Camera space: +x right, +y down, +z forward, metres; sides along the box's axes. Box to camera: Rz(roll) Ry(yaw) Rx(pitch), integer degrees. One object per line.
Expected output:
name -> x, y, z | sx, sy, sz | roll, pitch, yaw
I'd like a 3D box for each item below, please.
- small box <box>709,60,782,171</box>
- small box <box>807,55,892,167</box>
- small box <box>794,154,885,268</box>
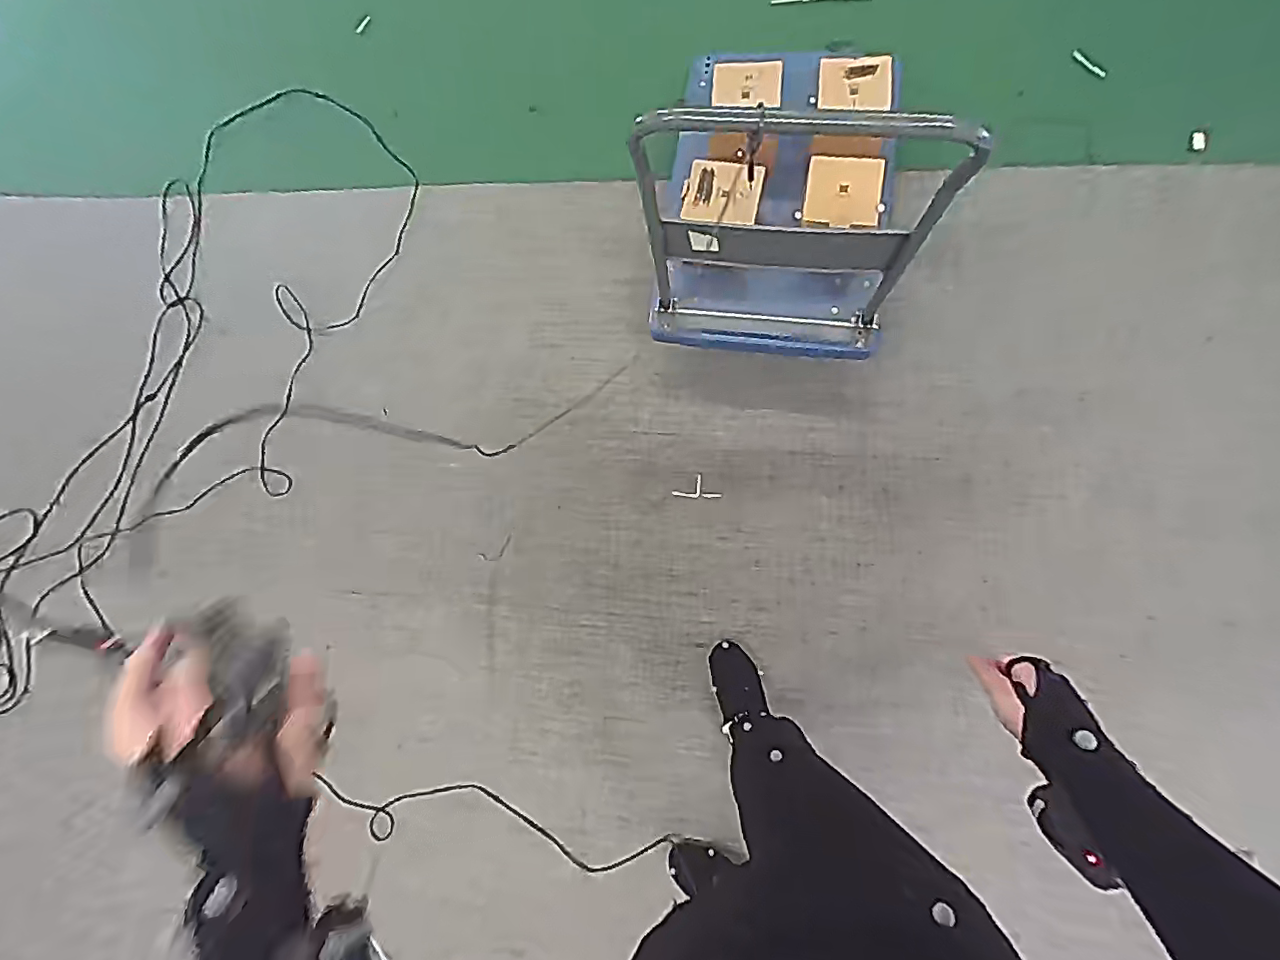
small box -> 0.268, -0.924, 1.386 | 0.168, 0.176, 0.179 | 4, 80, 8
small box -> 0.516, -0.908, 1.348 | 0.168, 0.176, 0.179 | 4, 81, 9
small box -> 0.473, -0.644, 1.305 | 0.168, 0.176, 0.179 | 9, 81, 10
